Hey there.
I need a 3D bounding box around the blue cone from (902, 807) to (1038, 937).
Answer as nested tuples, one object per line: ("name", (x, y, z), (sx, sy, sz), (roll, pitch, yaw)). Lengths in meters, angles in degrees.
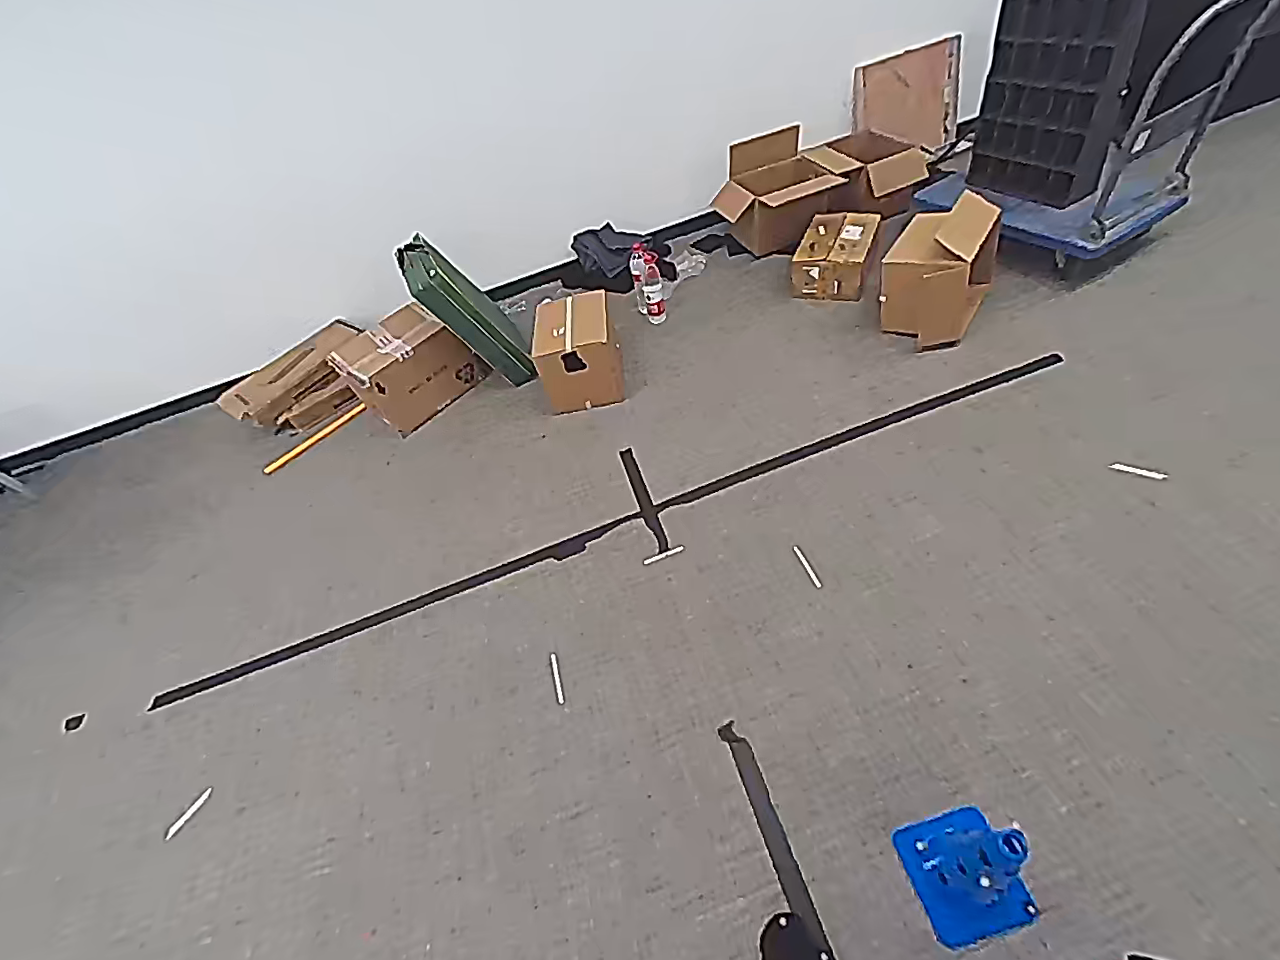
("blue cone", (0.619, 0.676, 0.967), (0.192, 0.380, 0.193), (-16, 47, 0))
